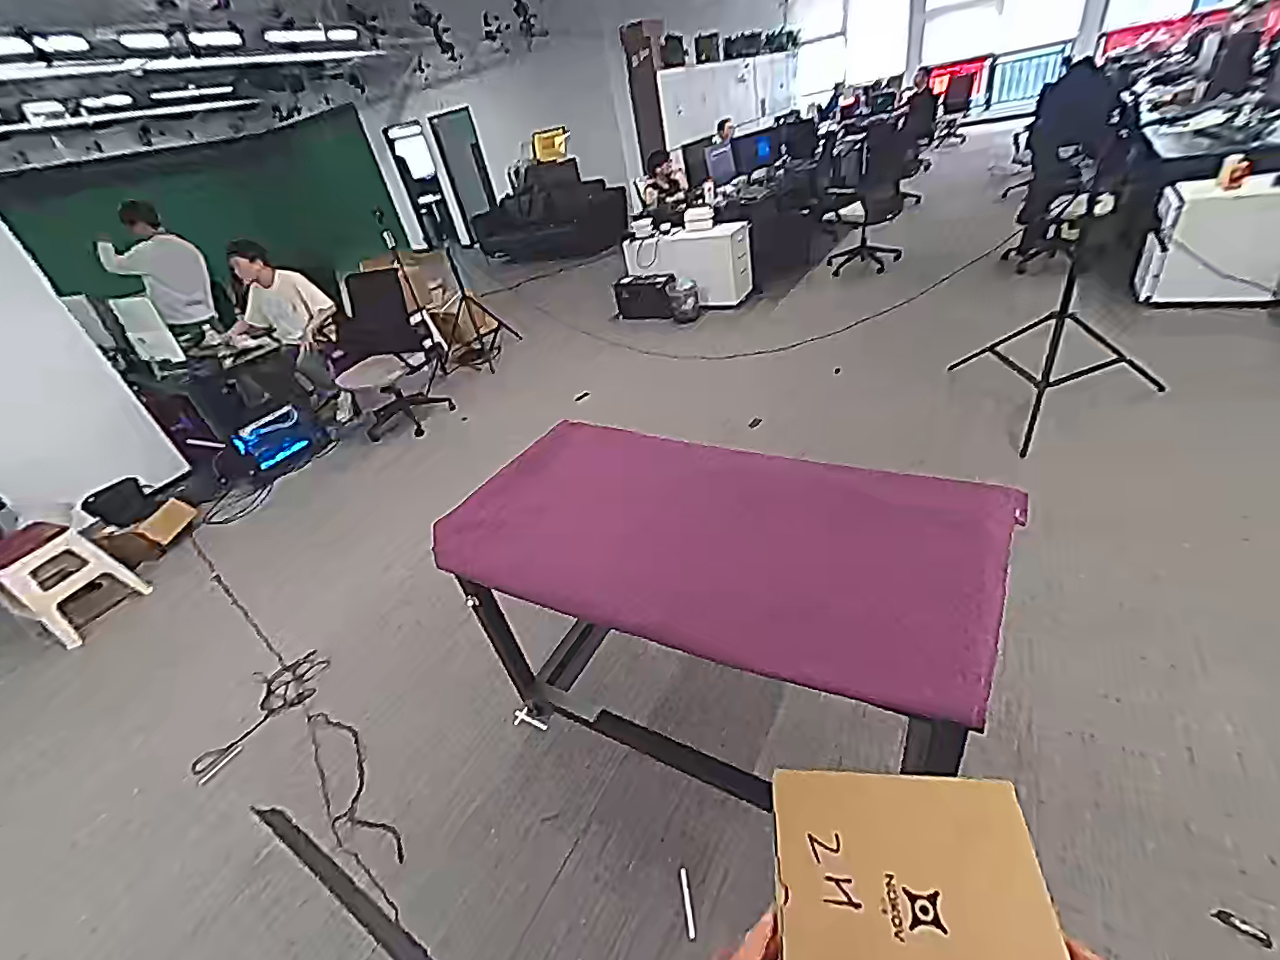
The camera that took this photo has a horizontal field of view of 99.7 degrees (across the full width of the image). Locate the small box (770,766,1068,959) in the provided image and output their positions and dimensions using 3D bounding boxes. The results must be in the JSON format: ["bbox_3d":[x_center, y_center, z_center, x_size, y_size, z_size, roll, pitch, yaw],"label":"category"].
[{"bbox_3d":[0.195,0.340,0.414,0.179,0.176,0.168,-5,43,14],"label":"small box"}]
